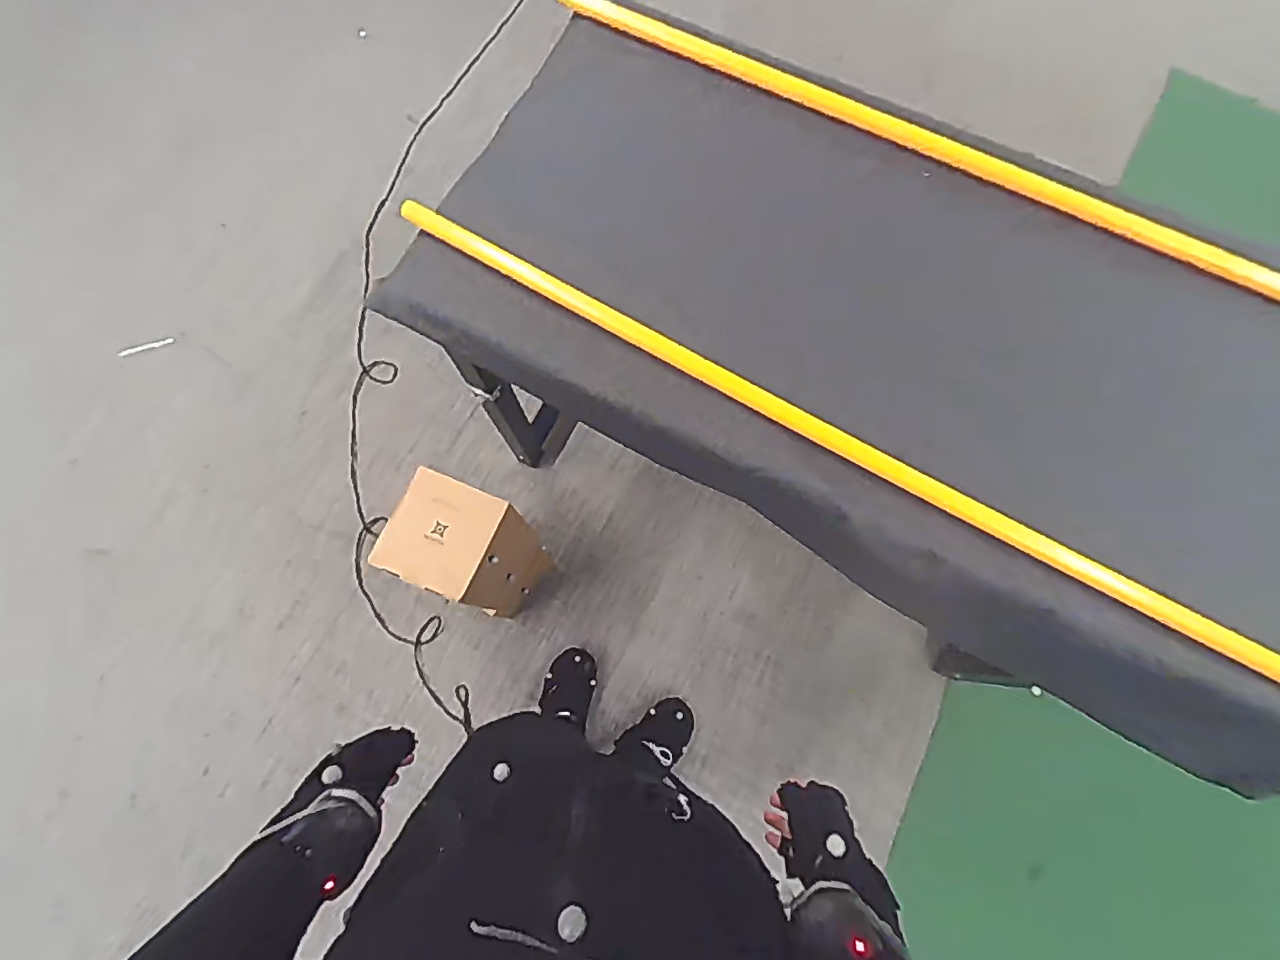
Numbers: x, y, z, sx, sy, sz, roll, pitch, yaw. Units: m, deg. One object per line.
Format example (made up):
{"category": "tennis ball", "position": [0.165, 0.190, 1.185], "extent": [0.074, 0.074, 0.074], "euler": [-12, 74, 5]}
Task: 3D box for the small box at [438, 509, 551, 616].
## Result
{"category": "small box", "position": [-0.322, 0.195, 1.245], "extent": [0.168, 0.176, 0.179], "euler": [35, 77, 9]}
